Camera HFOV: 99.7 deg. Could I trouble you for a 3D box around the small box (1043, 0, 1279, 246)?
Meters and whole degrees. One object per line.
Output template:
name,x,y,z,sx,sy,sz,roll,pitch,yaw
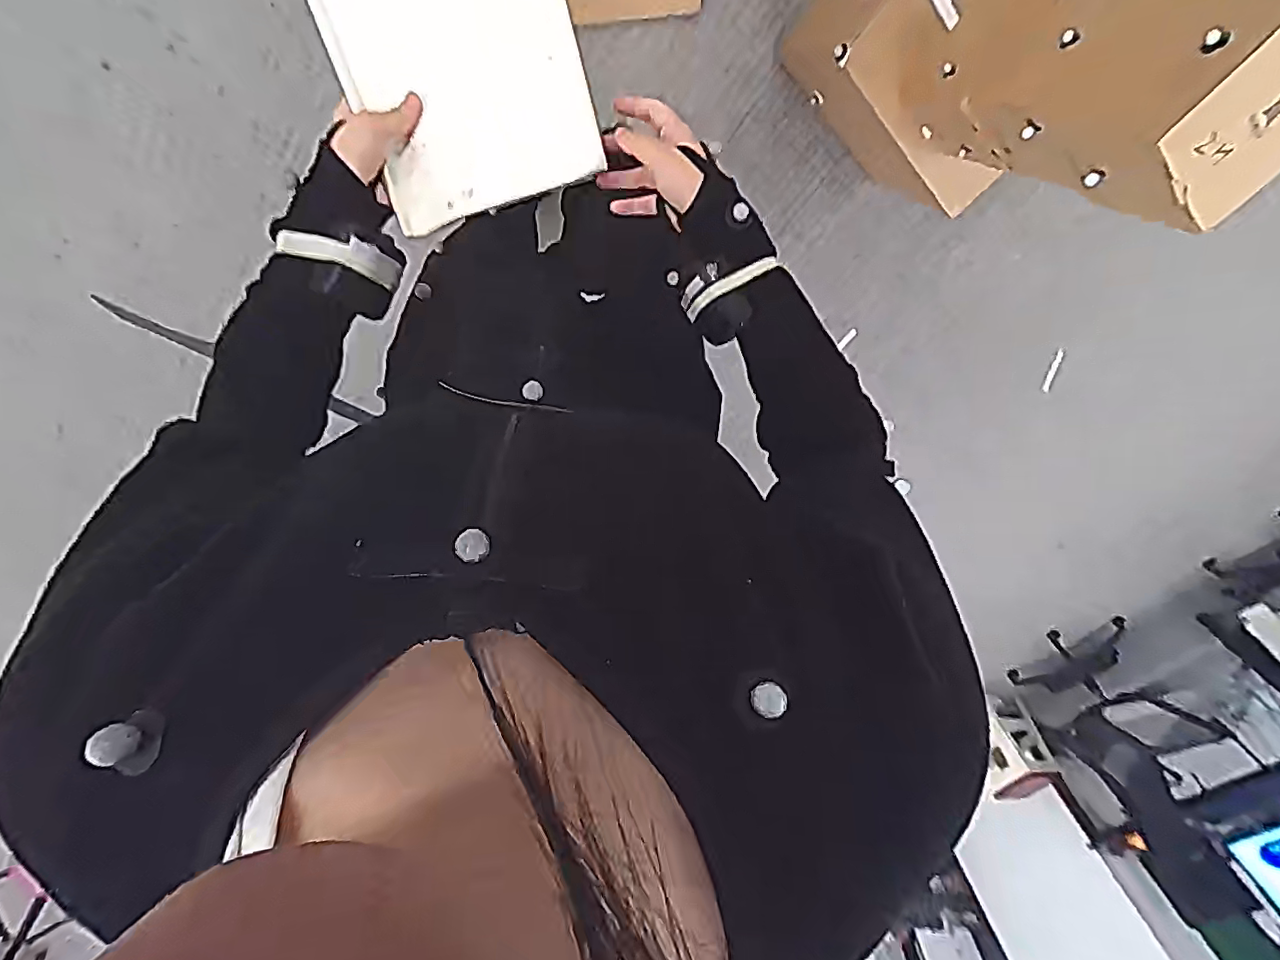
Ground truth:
small box,0.630,-0.415,0.624,0.168,0.176,0.179,26,120,-29

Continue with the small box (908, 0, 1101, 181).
small box,0.568,-0.626,0.870,0.168,0.176,0.179,23,120,-29
